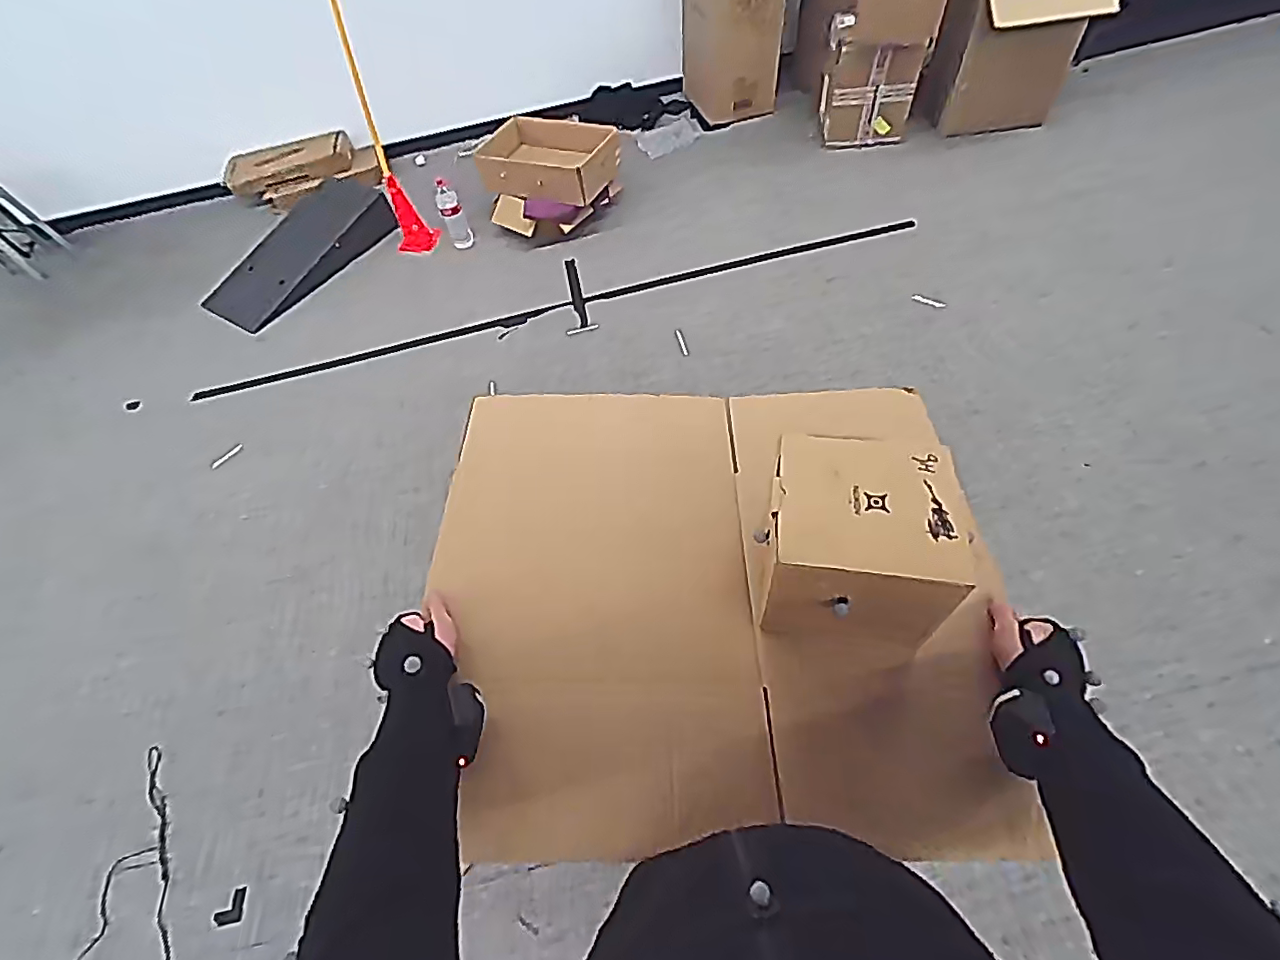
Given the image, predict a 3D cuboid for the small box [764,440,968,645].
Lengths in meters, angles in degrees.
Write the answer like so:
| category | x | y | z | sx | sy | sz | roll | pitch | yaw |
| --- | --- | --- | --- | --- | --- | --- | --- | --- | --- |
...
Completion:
| category | x | y | z | sx | sy | sz | roll | pitch | yaw |
| --- | --- | --- | --- | --- | --- | --- | --- | --- | --- |
| small box | 0.236 | 0.073 | 0.611 | 0.179 | 0.176 | 0.168 | 4 | 54 | 11 |
